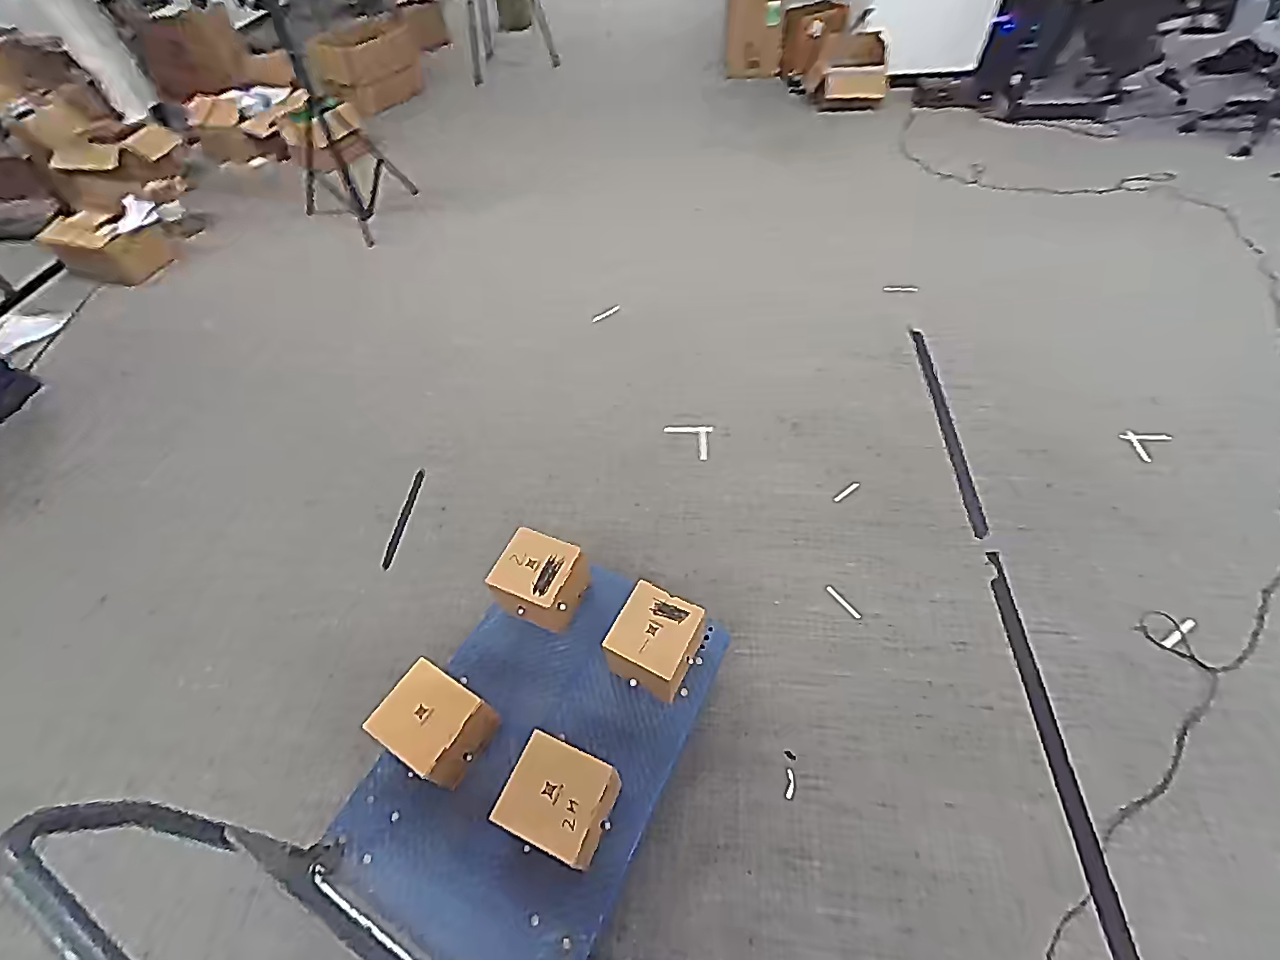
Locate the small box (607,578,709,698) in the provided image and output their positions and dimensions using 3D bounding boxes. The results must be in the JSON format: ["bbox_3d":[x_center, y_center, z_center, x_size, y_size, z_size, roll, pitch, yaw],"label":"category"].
[{"bbox_3d":[0.043,0.361,1.226,0.168,0.176,0.179,22,58,19],"label":"small box"}]

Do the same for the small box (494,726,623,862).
[{"bbox_3d":[-0.147,0.610,1.044,0.179,0.176,0.168,18,56,17],"label":"small box"}]

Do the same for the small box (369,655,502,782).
[{"bbox_3d":[-0.422,0.508,1.143,0.179,0.176,0.168,26,58,20],"label":"small box"}]
